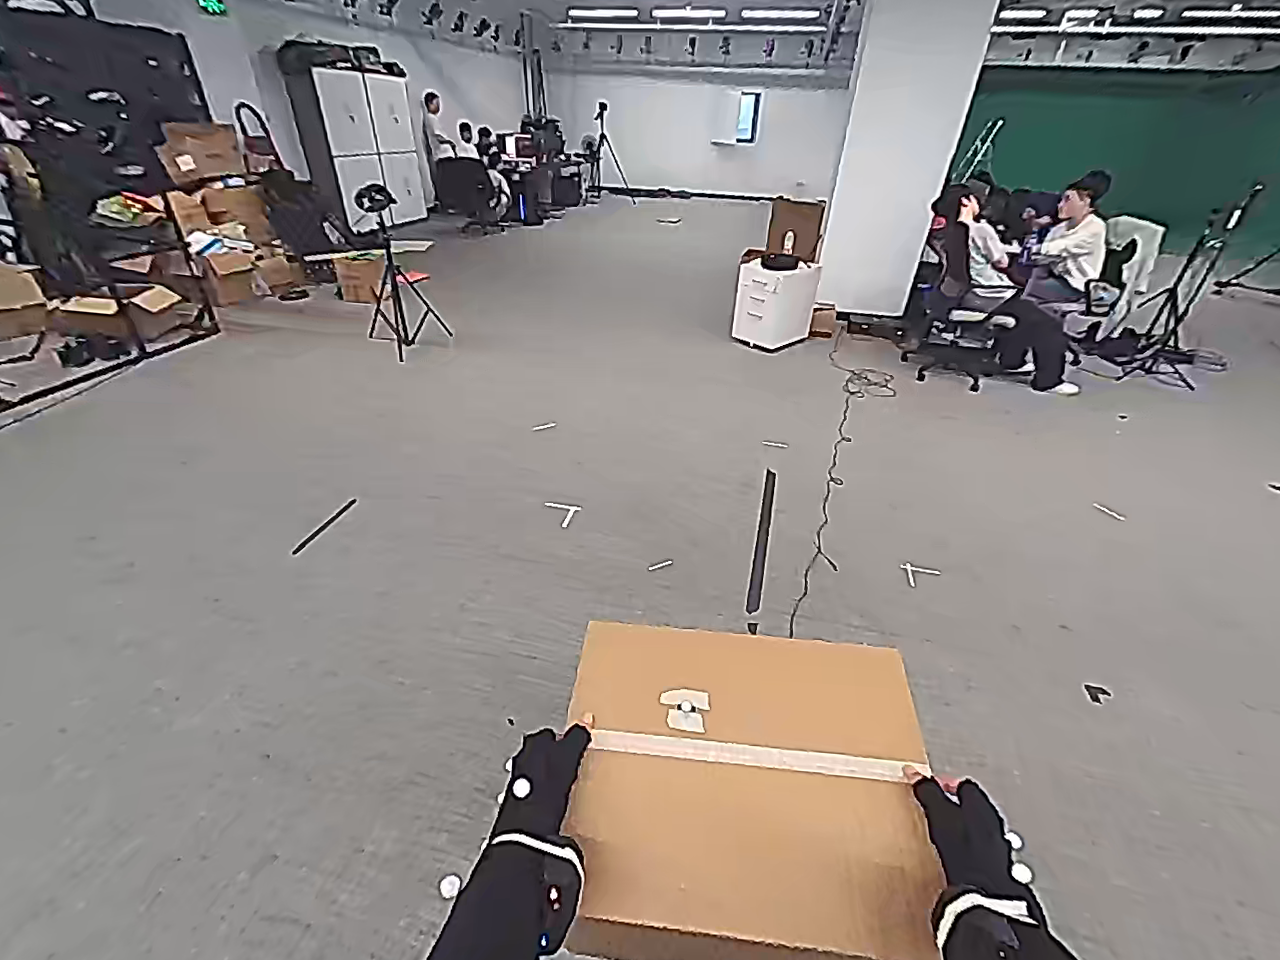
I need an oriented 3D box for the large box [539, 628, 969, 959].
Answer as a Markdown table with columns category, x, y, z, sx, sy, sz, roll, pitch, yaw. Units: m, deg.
| category | x | y | z | sx | sy | sz | roll | pitch | yaw |
| --- | --- | --- | --- | --- | --- | --- | --- | --- | --- |
| large box | 0.121 | 0.422 | 0.709 | 0.408 | 0.320 | 0.320 | 3 | 42 | 6 |
